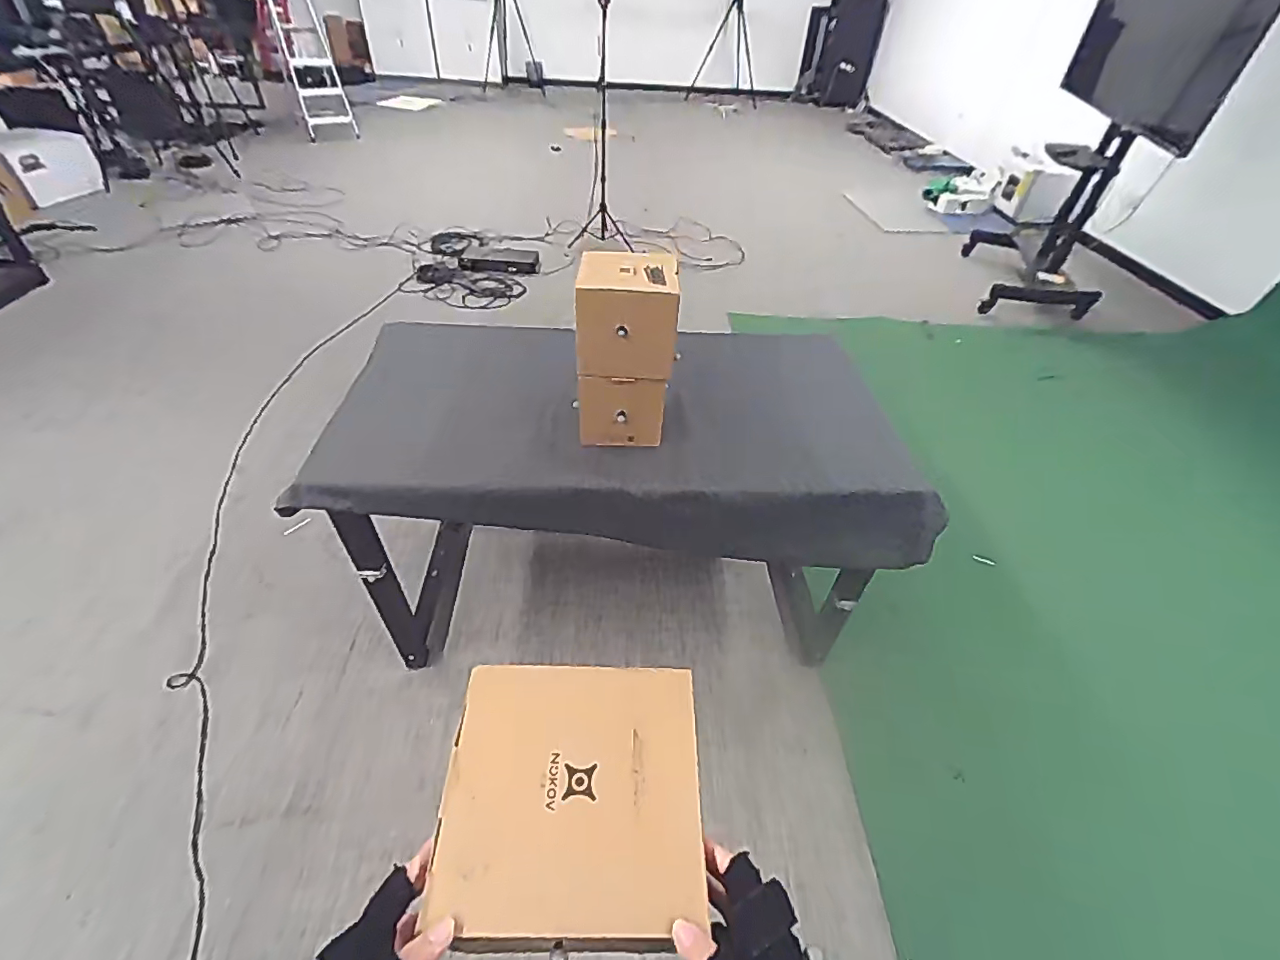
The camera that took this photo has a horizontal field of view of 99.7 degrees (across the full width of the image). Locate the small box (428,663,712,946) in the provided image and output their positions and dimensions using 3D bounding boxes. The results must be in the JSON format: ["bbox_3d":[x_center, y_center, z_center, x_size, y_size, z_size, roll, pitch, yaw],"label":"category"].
[{"bbox_3d":[-0.046,0.263,0.437,0.179,0.176,0.168,1,47,-3],"label":"small box"}]

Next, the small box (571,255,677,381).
[{"bbox_3d":[-0.027,-0.296,0.994,0.179,0.176,0.168,1,43,0],"label":"small box"}]

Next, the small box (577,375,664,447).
[{"bbox_3d":[-0.039,-0.181,1.113,0.168,0.176,0.179,0,44,-3],"label":"small box"}]
